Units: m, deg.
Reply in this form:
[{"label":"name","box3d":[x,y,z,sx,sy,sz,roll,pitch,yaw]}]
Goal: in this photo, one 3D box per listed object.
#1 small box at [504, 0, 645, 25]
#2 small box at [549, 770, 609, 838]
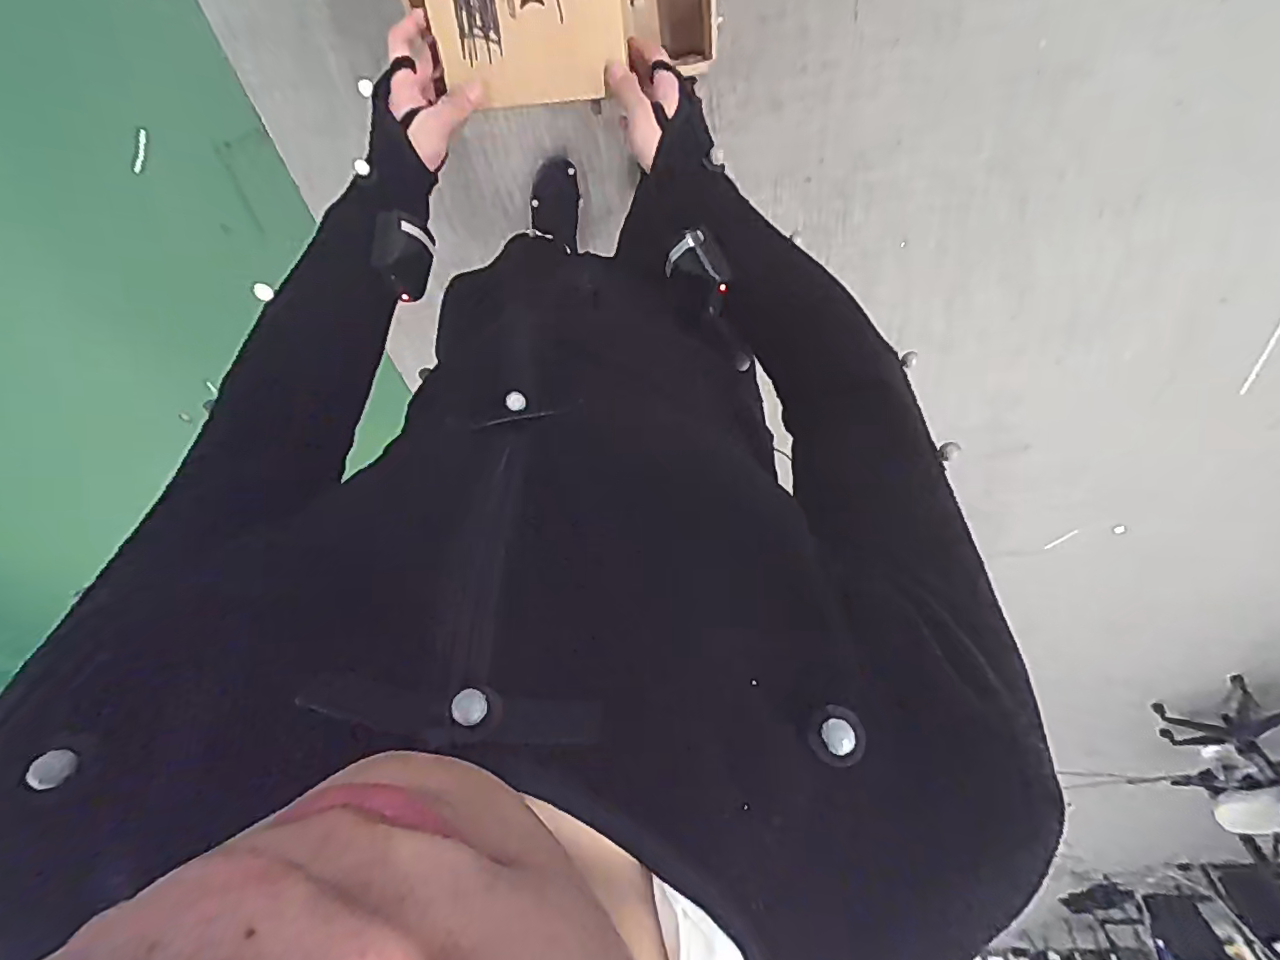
[{"label":"small box","box3d":[-0.087,-0.688,0.670,0.179,0.176,0.168,-5,131,7]},{"label":"small box","box3d":[-0.214,1.159,1.935,0.179,0.176,0.168,-4,131,5]}]
